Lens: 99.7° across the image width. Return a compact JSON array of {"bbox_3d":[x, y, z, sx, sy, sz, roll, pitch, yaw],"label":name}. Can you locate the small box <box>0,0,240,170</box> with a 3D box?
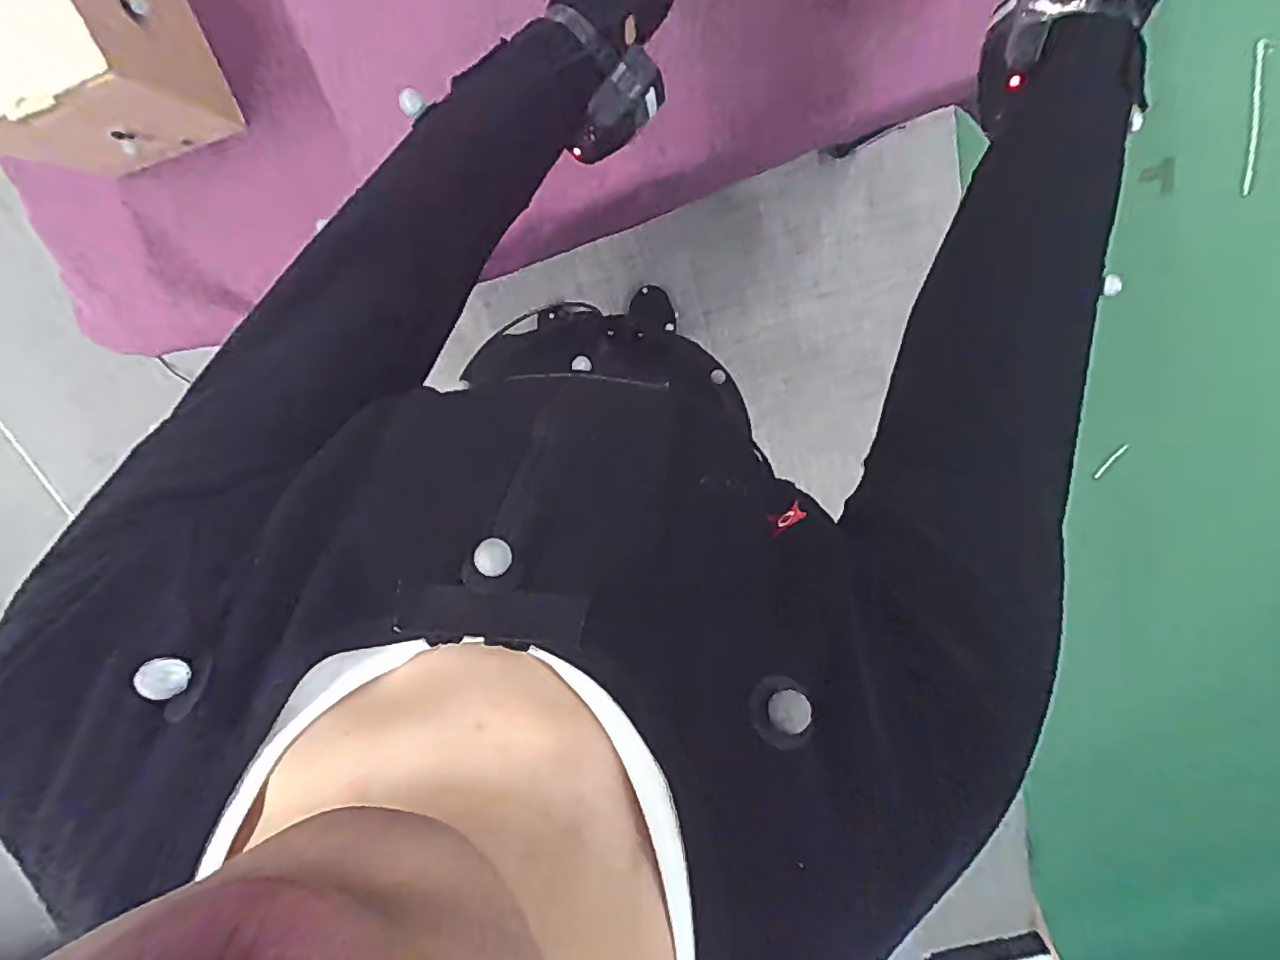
[{"bbox_3d":[-0.526,-0.405,0.494,0.168,0.176,0.179,-17,110,5],"label":"small box"}]
